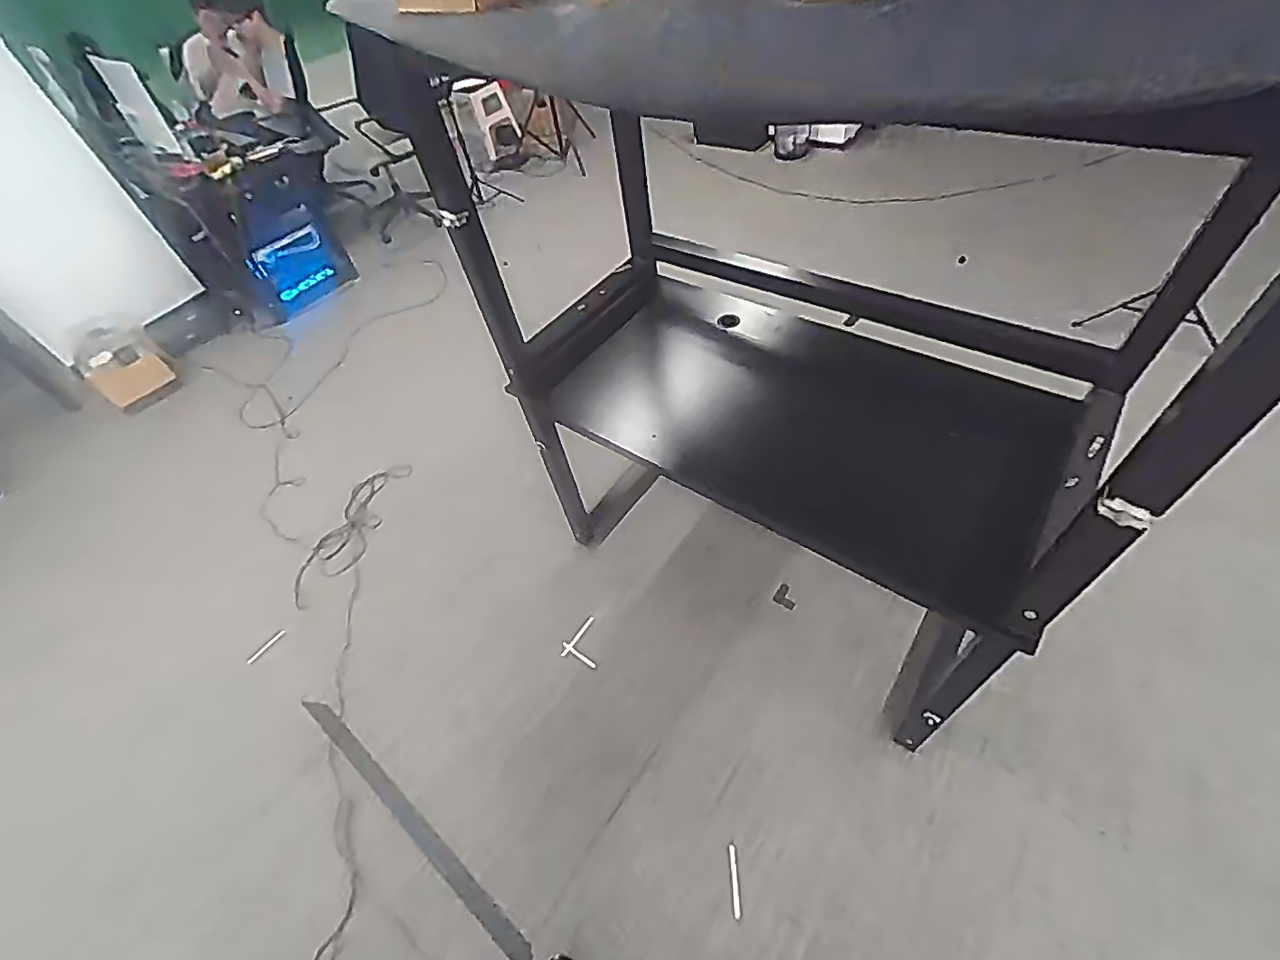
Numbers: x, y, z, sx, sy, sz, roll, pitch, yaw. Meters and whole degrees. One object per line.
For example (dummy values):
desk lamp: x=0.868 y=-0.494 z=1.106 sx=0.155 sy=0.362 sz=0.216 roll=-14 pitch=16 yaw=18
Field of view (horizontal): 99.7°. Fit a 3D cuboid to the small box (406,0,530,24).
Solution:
small box: x=-0.235 y=-0.743 z=0.724 sx=0.168 sy=0.176 sz=0.179 roll=24 pitch=59 yaw=26
